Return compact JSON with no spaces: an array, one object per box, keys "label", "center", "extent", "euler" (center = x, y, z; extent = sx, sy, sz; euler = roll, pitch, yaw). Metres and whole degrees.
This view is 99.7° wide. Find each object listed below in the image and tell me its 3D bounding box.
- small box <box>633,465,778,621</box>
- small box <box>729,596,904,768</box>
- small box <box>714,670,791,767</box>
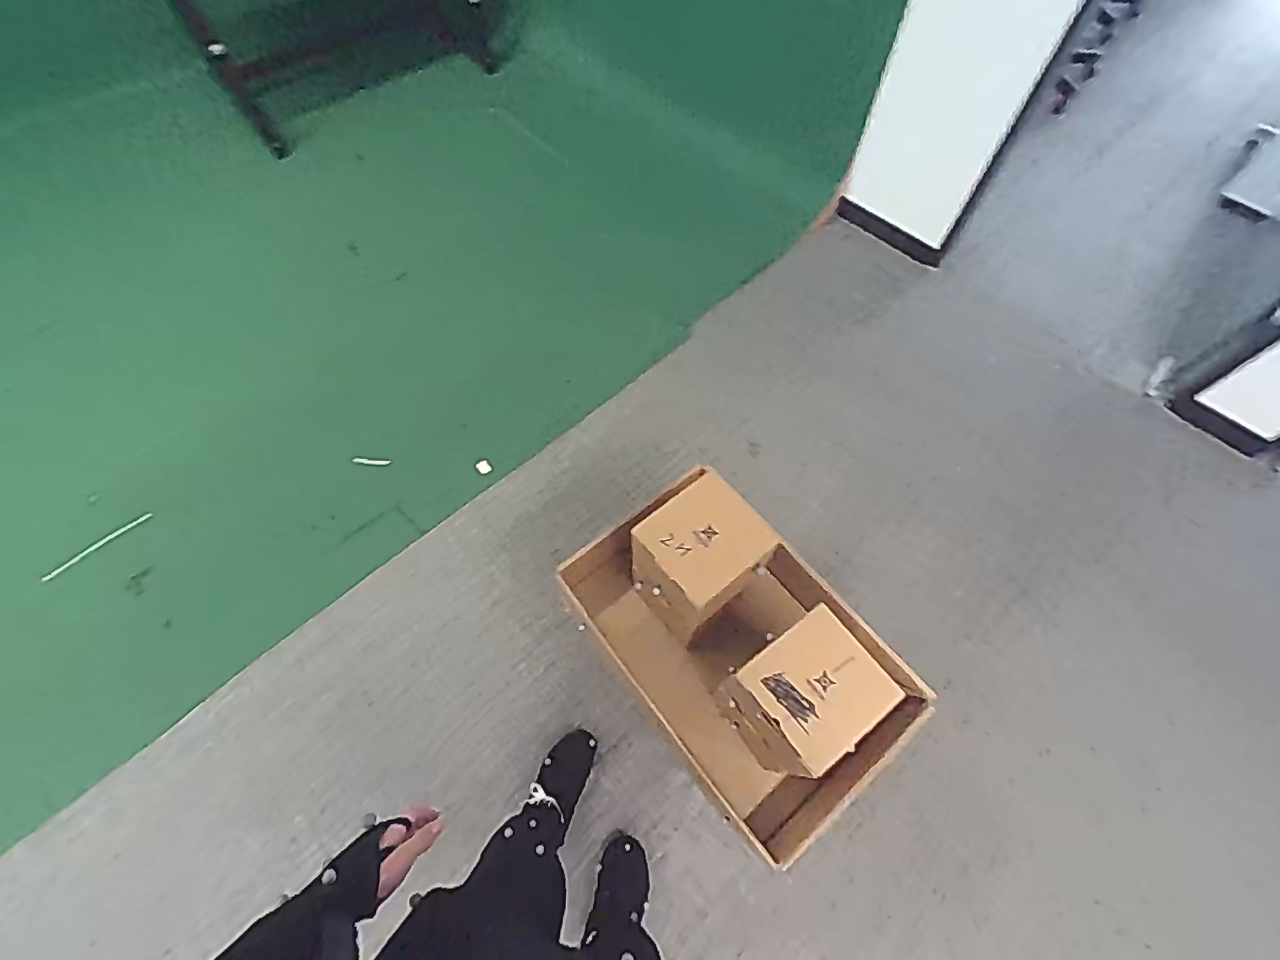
[{"label":"small box","center":[0.102,0.112,0.924],"extent":[0.179,0.176,0.168],"euler":[-35,68,-16]},{"label":"small box","center":[0.252,0.310,0.825],"extent":[0.179,0.176,0.168],"euler":[-33,68,-15]},{"label":"small box","center":[0.252,0.383,0.973],"extent":[0.179,0.176,0.168],"euler":[-35,68,-14]}]
